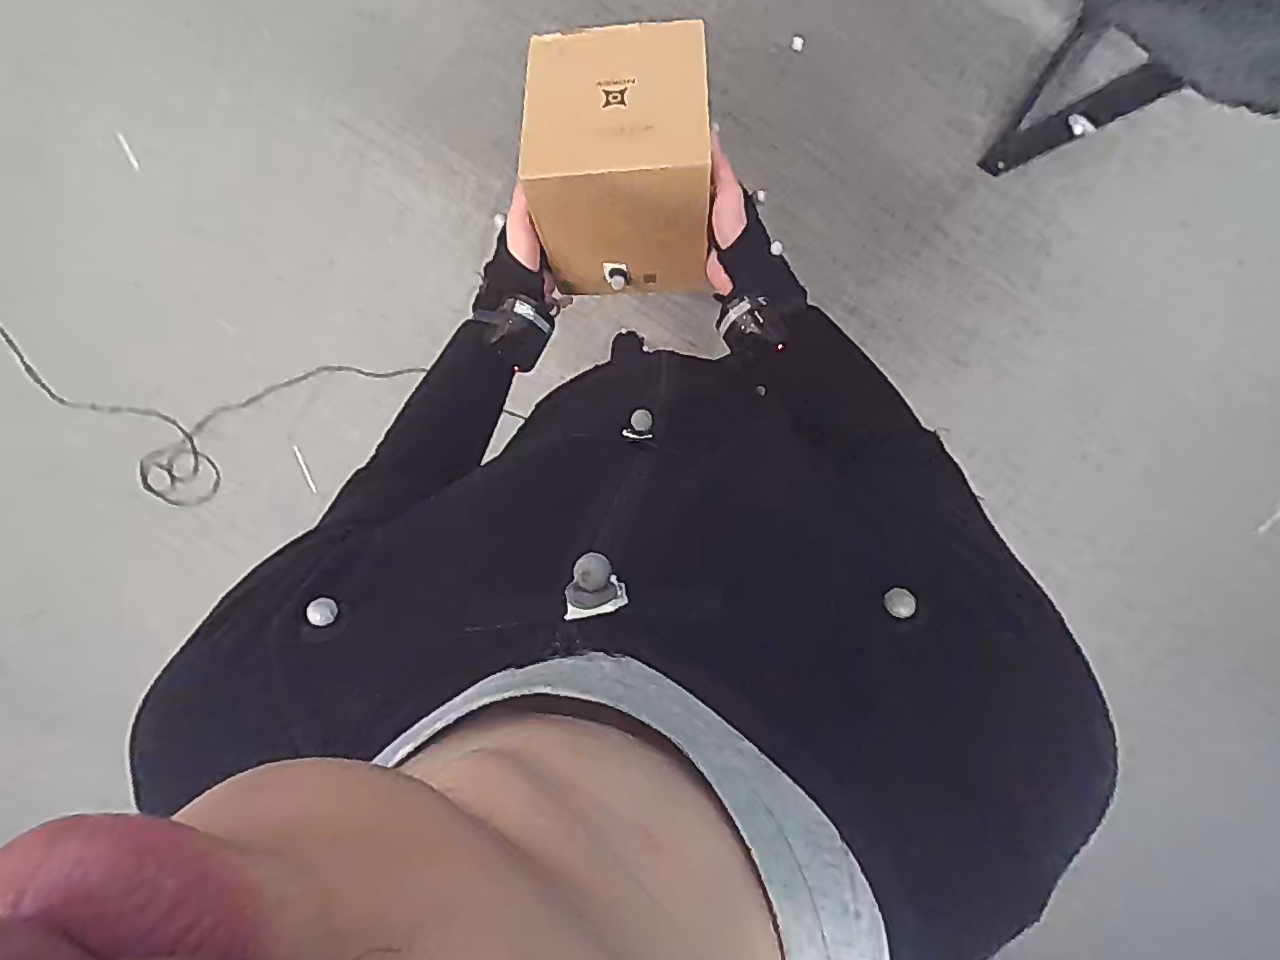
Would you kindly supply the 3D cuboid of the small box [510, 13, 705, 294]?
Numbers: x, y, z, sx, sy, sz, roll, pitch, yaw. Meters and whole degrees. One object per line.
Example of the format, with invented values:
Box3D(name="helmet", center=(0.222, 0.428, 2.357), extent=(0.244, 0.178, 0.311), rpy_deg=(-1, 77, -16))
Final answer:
Box3D(name="small box", center=(-0.022, -0.317, 0.550), extent=(0.168, 0.176, 0.179), rpy_deg=(-3, 73, 5))
